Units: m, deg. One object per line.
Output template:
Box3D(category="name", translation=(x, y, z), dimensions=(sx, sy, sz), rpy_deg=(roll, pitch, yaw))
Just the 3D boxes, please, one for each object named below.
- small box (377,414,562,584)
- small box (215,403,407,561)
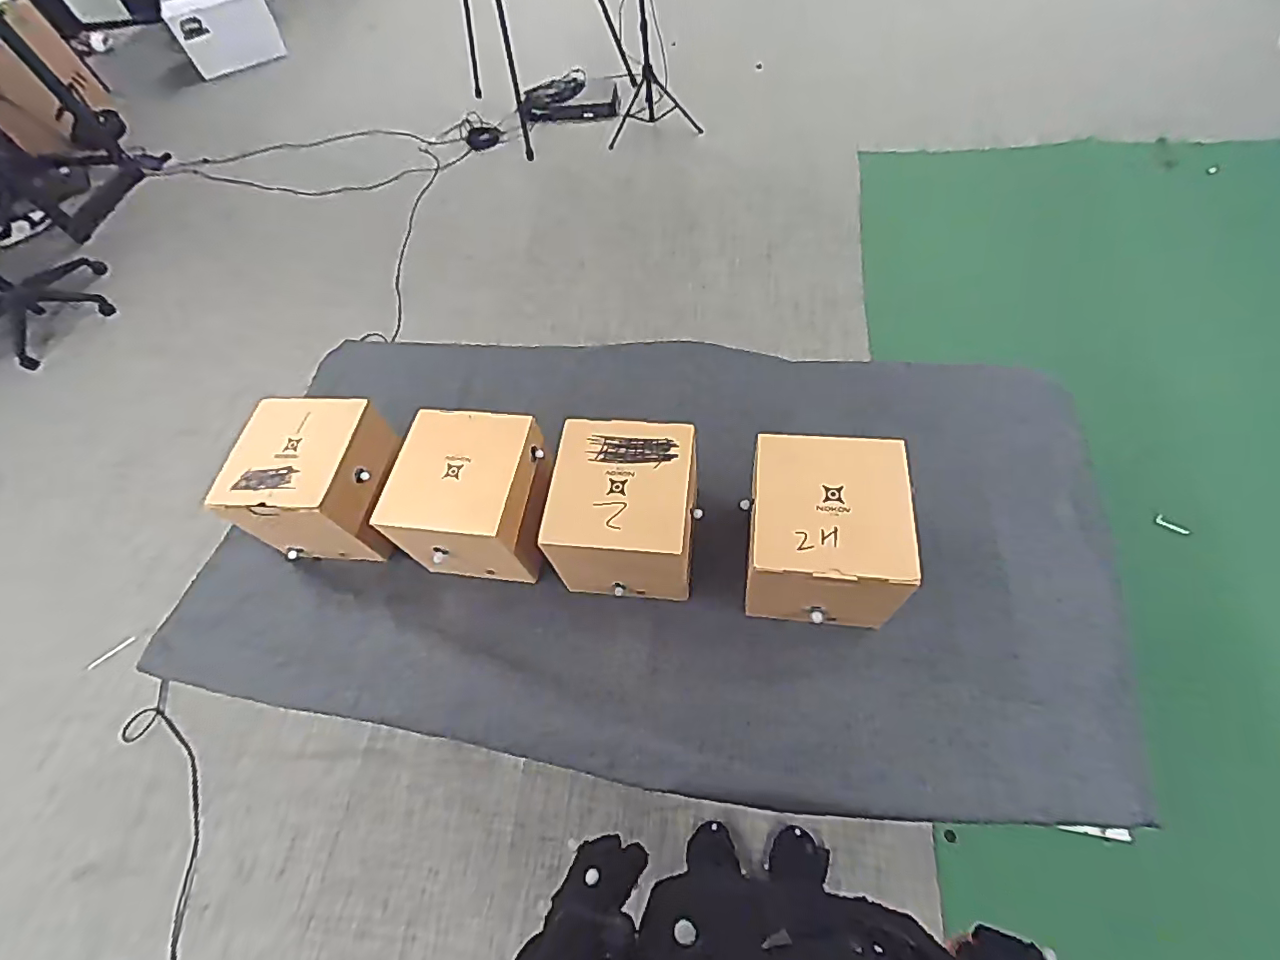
Box3D(category="small box", translation=(-0.217, 0.031, 0.747), dimensions=(0.168, 0.176, 0.179), rpy_deg=(4, 59, 10))
Box3D(category="small box", translation=(-0.448, 0.008, 0.790), dimensions=(0.168, 0.176, 0.179), rpy_deg=(2, 59, 8))
